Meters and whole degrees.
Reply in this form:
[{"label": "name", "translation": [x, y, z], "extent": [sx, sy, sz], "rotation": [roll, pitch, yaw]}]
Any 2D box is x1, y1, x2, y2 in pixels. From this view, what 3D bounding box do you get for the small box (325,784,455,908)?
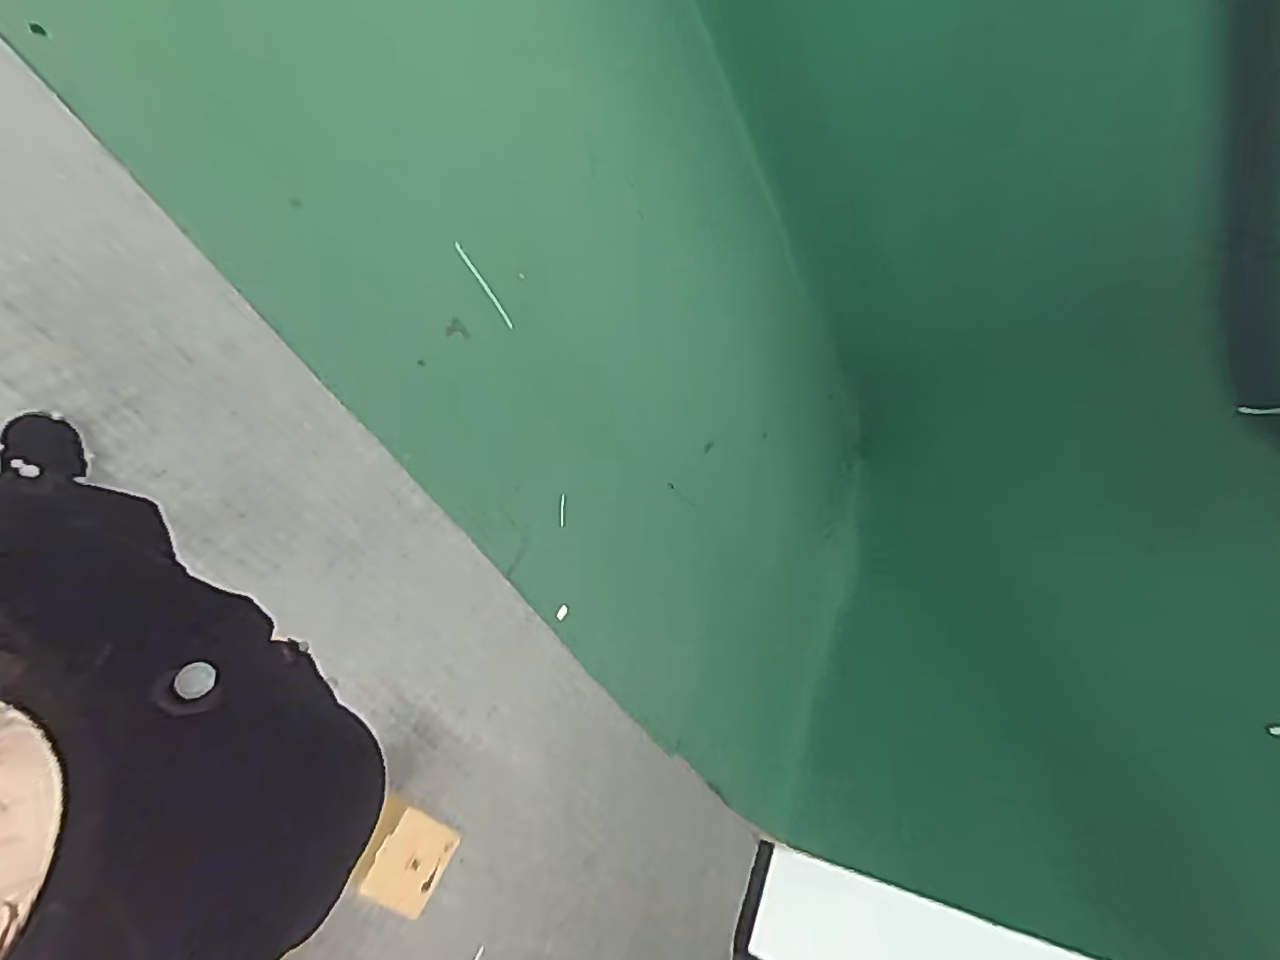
[{"label": "small box", "translation": [-0.570, 0.820, 1.228], "extent": [0.179, 0.176, 0.168], "rotation": [54, 48, -29]}]
